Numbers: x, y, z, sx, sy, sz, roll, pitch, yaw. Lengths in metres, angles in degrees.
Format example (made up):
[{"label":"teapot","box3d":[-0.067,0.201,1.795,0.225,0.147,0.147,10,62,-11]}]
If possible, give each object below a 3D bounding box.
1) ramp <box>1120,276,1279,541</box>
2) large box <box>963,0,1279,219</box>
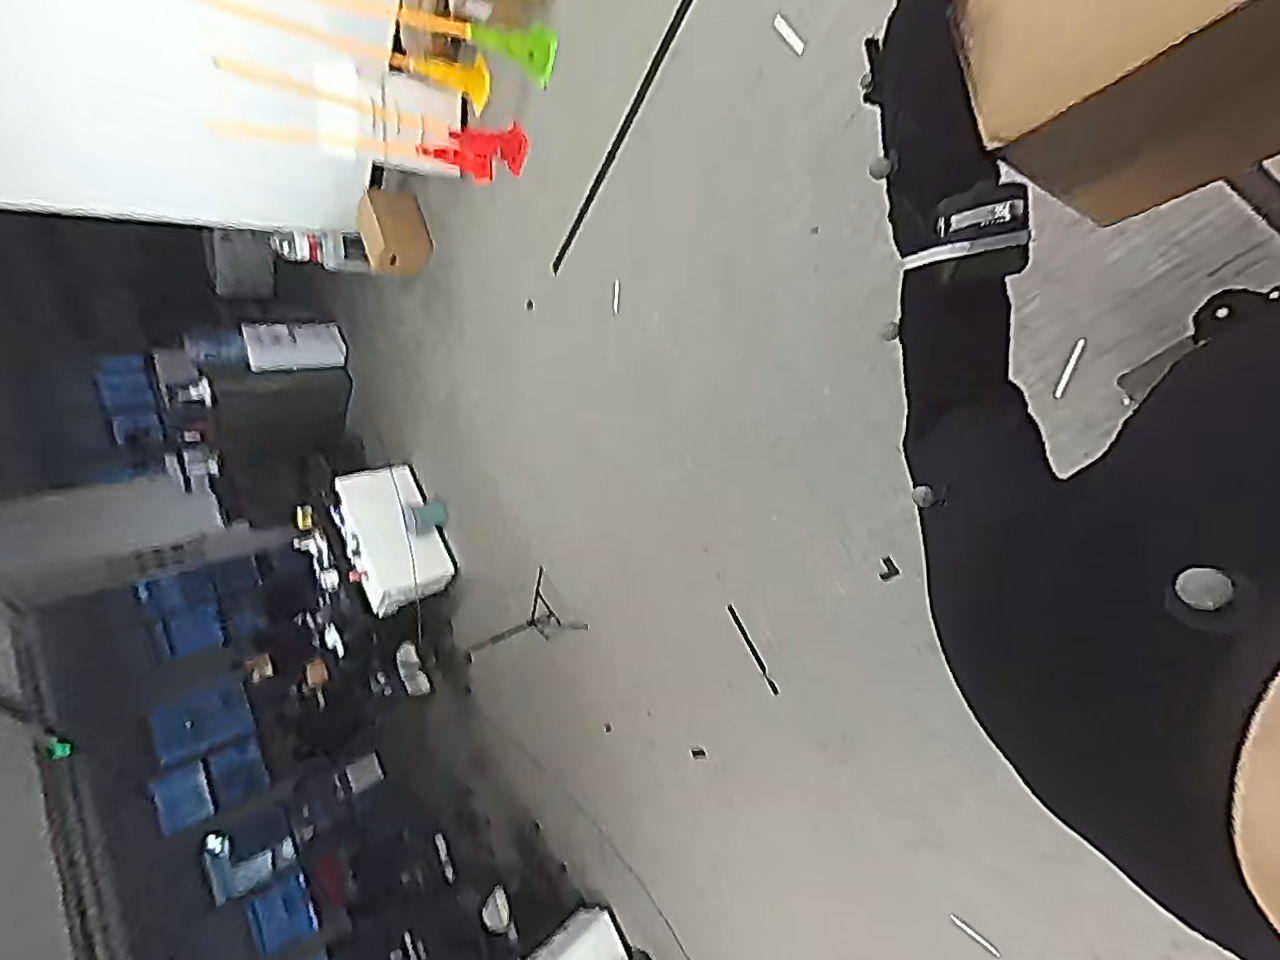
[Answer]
[{"label":"ramp","box3d":[1.416,0.038,0.886,0.991,0.206,0.509,59,135,16]},{"label":"large box","box3d":[0.456,-0.436,0.330,0.408,0.320,0.320,-16,83,52]}]
